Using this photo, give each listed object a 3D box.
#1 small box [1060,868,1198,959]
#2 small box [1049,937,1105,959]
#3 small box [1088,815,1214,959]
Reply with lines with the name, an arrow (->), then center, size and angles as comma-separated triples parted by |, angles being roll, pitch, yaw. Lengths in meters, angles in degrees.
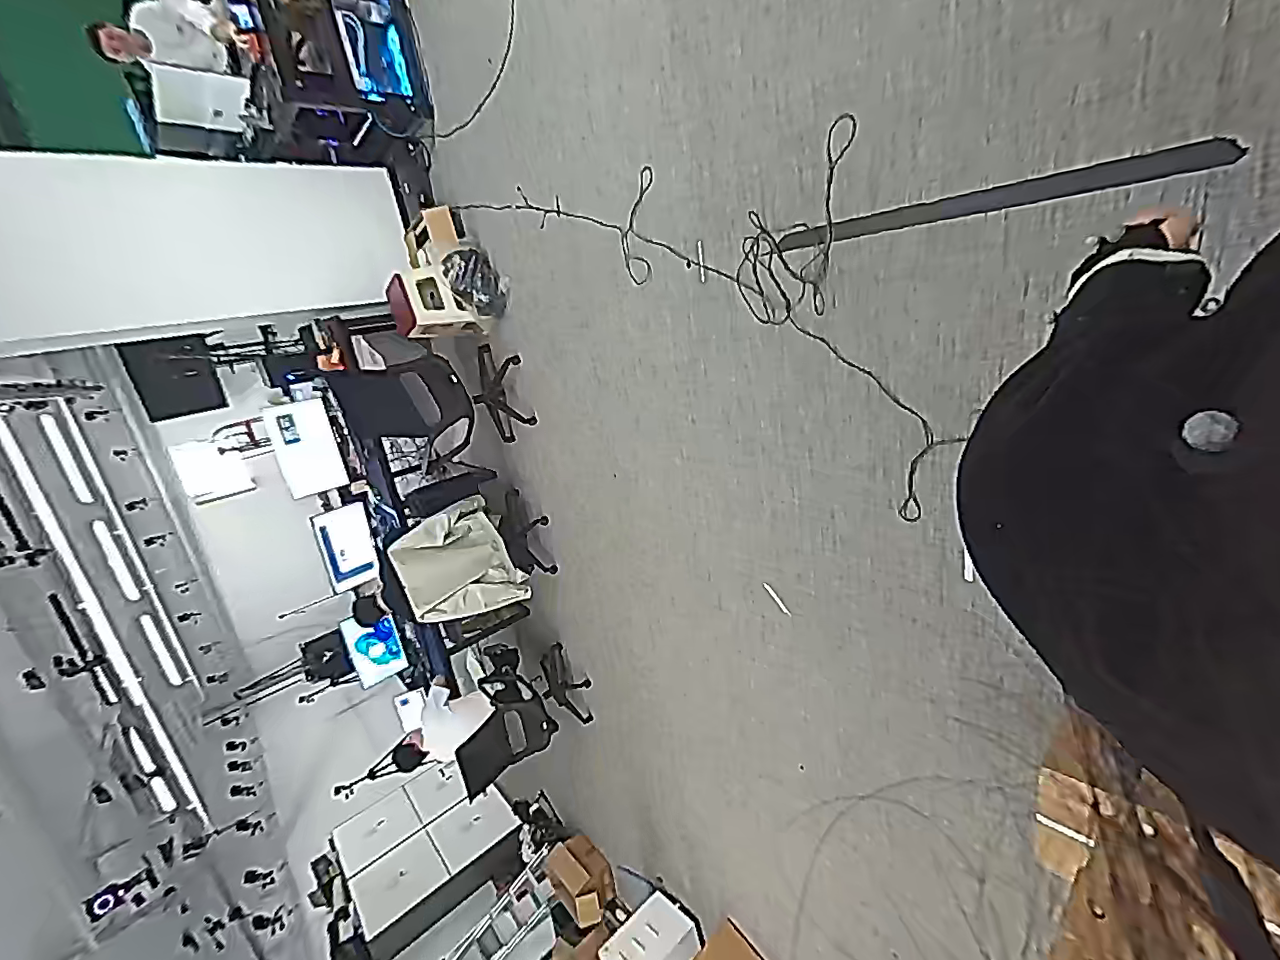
small box -> 0.900, 0.881, 0.998 | 0.168, 0.176, 0.179 | 7, 114, 52
small box -> 0.778, 0.935, 0.901 | 0.168, 0.176, 0.179 | 0, 108, 54
small box -> 1.026, 0.836, 1.091 | 0.168, 0.176, 0.179 | 8, 114, 50
